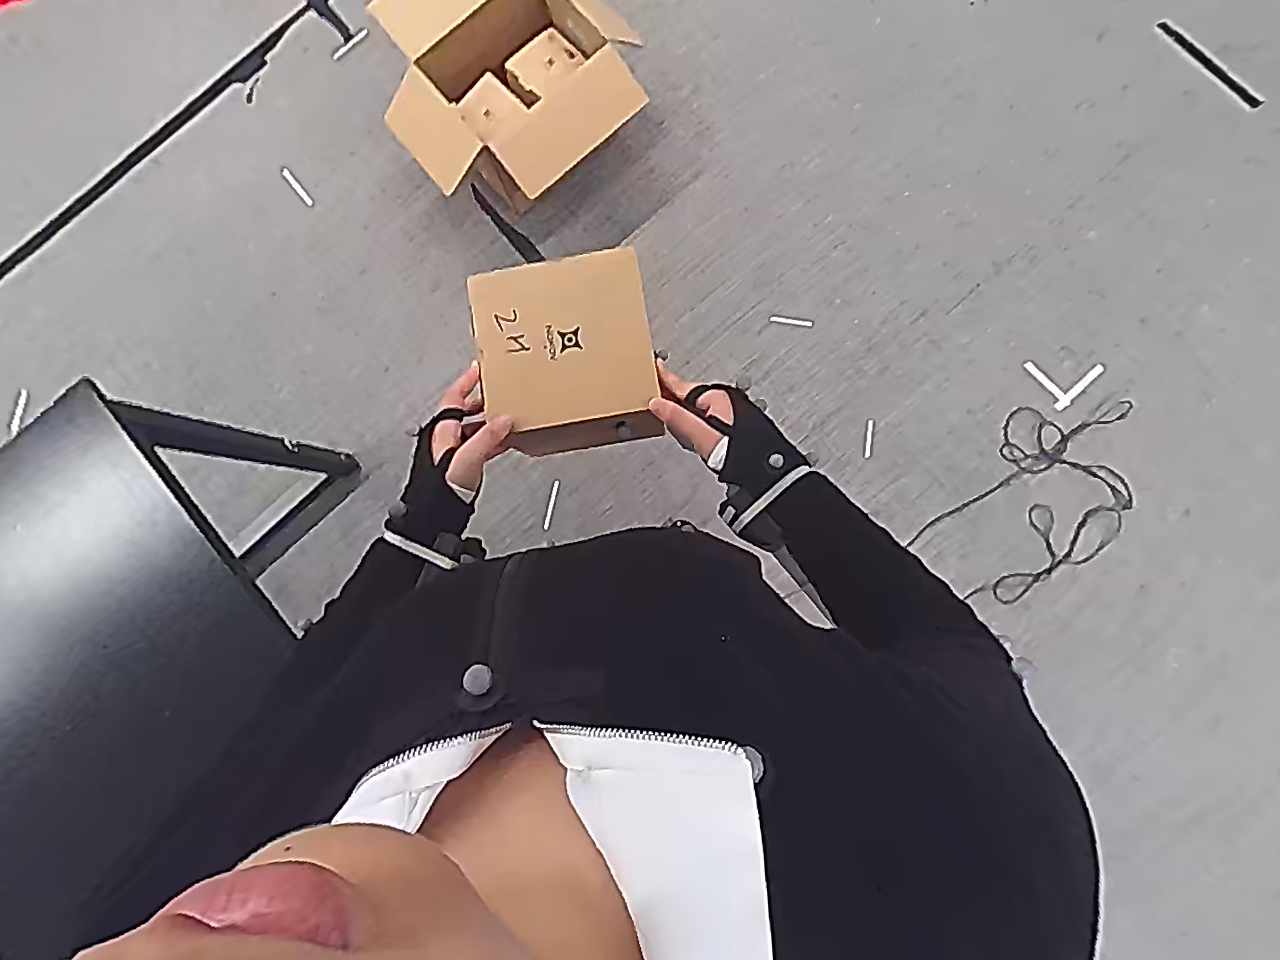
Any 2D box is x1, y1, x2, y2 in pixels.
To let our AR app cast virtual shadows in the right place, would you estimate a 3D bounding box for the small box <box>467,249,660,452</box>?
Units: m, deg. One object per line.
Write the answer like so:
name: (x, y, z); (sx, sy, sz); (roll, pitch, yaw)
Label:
small box: (-0.074, -0.132, 0.614); (0.179, 0.176, 0.168); (-10, 85, 4)
